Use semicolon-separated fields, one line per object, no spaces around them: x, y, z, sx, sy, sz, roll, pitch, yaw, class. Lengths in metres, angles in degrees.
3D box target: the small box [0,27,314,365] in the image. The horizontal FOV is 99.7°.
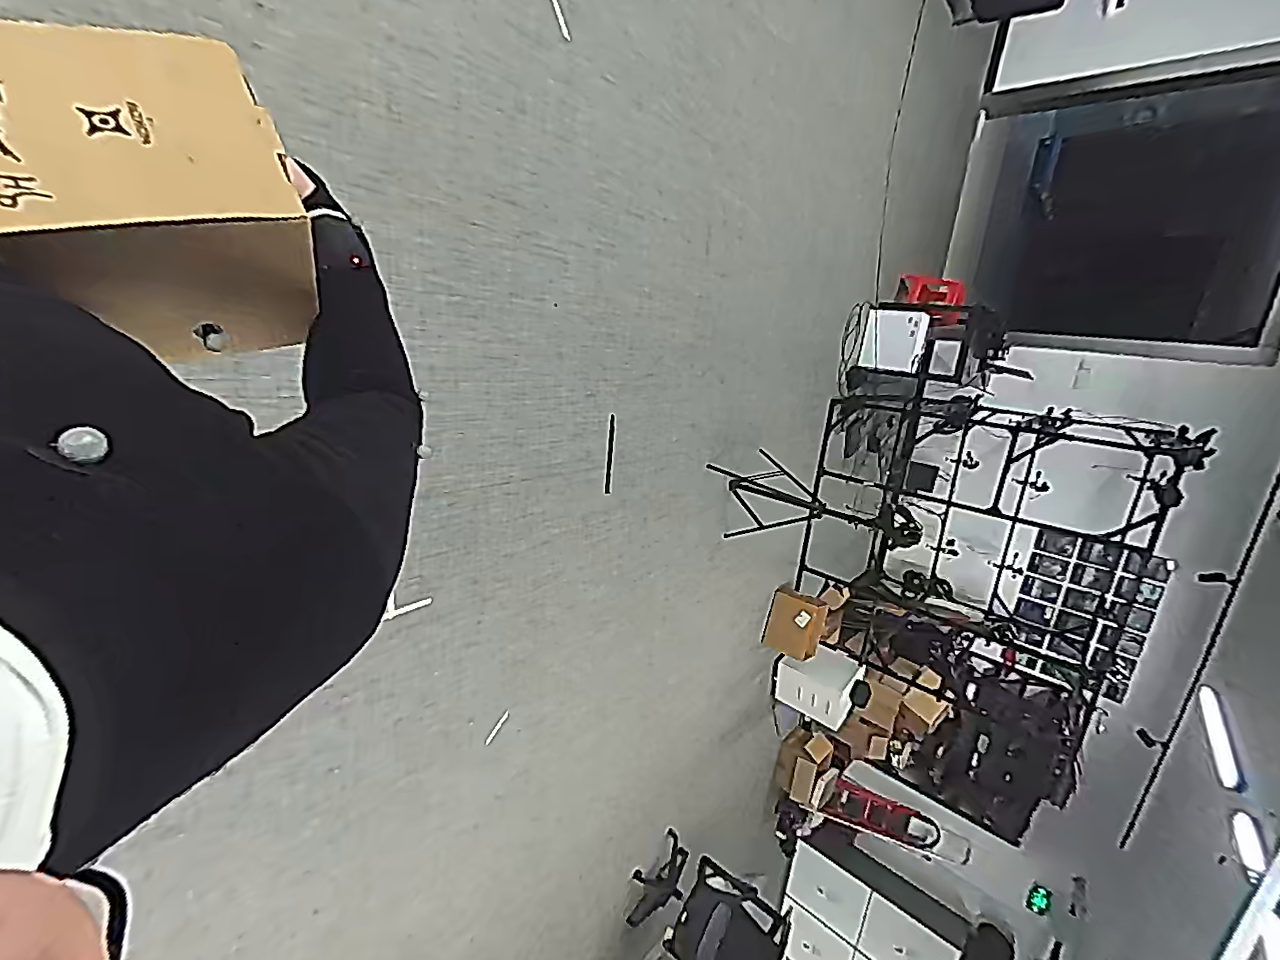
-0.392;-0.218;0.448;0.179;0.176;0.168;-22;81;-32;small box
